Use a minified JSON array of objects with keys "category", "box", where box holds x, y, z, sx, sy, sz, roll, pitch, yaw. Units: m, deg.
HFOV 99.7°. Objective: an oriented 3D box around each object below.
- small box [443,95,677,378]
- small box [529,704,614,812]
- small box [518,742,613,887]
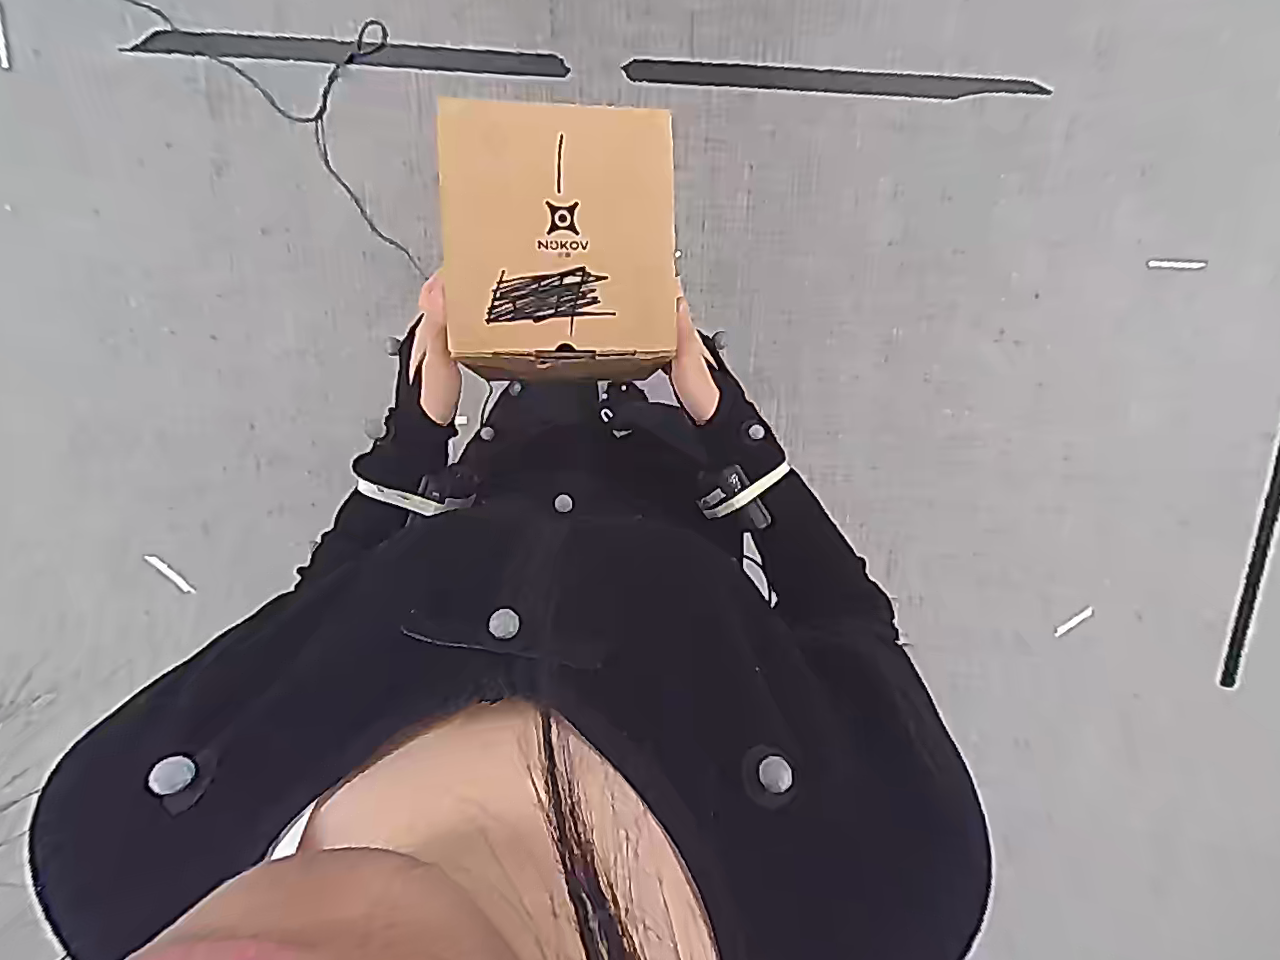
[{"category":"small box","box":[-0.062,-0.183,0.463,0.168,0.176,0.179,-1,93,-7]},{"category":"small box","box":[-0.147,0.621,1.210,0.179,0.176,0.168,0,99,-1]},{"category":"small box","box":[-0.138,0.641,1.049,0.168,0.176,0.179,1,99,-2]}]
